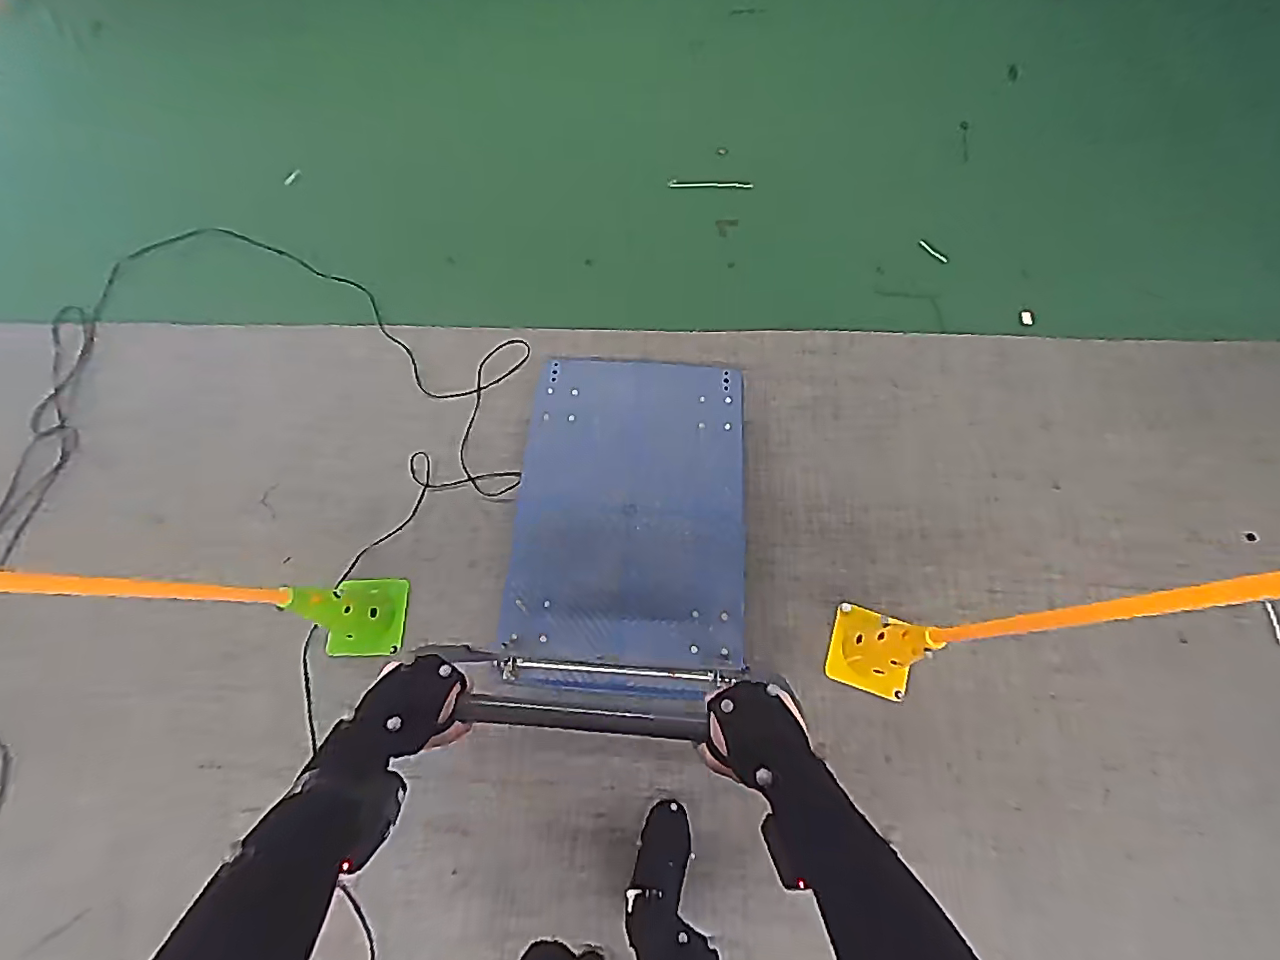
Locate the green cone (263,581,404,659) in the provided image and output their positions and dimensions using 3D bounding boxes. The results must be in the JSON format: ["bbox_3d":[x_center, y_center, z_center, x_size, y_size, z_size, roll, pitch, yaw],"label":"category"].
[{"bbox_3d":[-0.747,0.308,1.284,0.202,0.368,0.200,-3,68,3],"label":"green cone"}]
